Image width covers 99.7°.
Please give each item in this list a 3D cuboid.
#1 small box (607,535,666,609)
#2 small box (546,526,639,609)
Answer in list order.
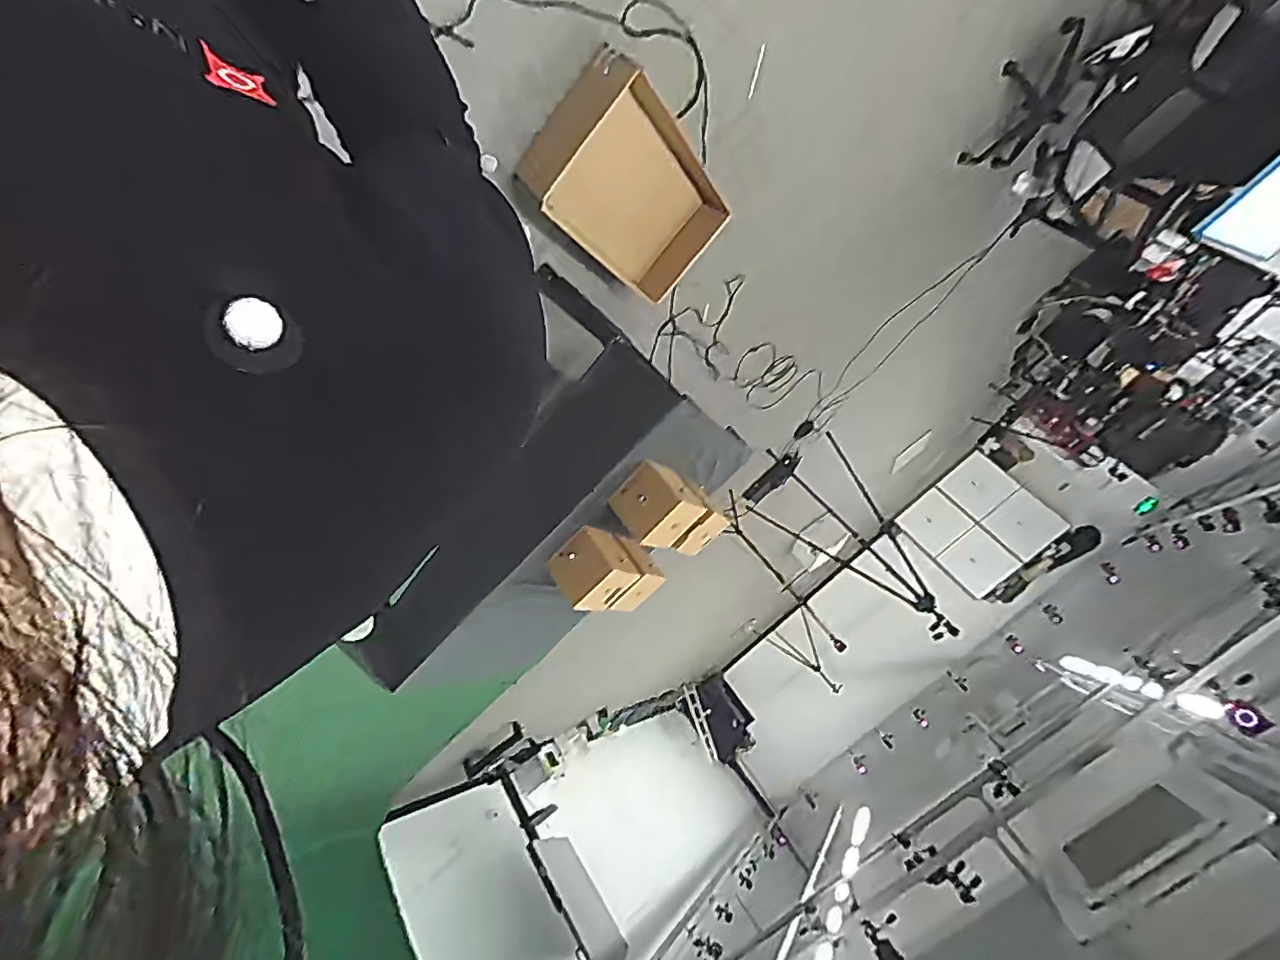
[{"bbox_3d":[-0.049,0.297,1.749,0.168,0.176,0.179,-44,152,8],"label":"small box"},{"bbox_3d":[-0.137,0.253,1.570,0.168,0.176,0.179,-44,152,9],"label":"small box"}]
